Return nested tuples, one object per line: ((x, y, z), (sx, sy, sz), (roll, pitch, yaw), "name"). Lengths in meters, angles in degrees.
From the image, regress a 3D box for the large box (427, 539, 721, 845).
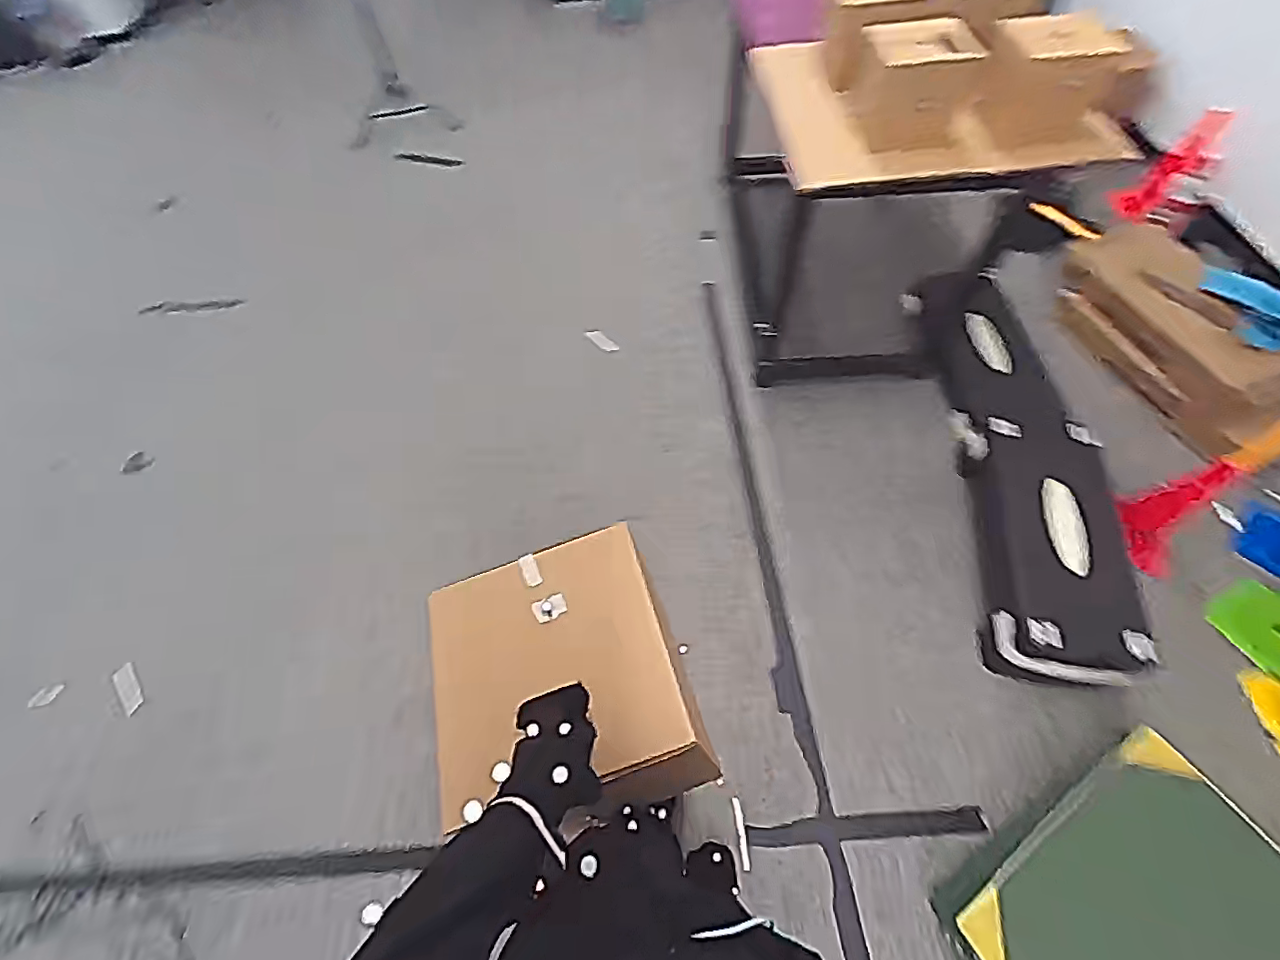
((-0.088, 0.351, 0.868), (0.320, 0.408, 0.320), (-21, 56, 1), "large box")
